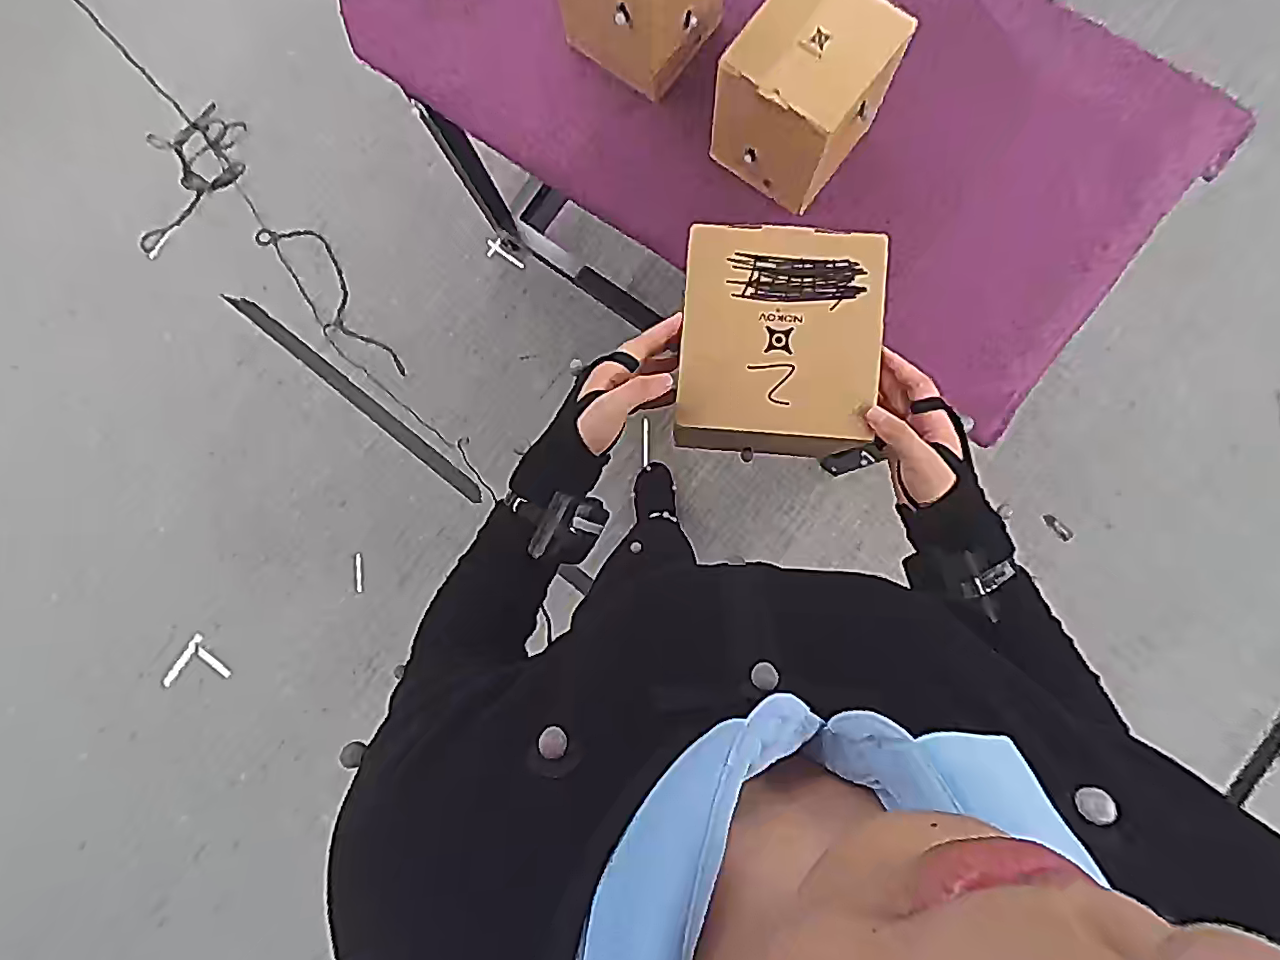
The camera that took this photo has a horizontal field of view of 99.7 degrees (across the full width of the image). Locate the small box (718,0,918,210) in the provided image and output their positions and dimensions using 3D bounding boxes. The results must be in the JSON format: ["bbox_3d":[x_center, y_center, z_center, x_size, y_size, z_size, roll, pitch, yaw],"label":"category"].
[{"bbox_3d":[0.217,-0.510,0.718,0.168,0.176,0.179,38,89,6],"label":"small box"}]

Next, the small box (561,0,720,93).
[{"bbox_3d":[0.002,-0.690,0.747,0.179,0.176,0.168,38,89,6],"label":"small box"}]
